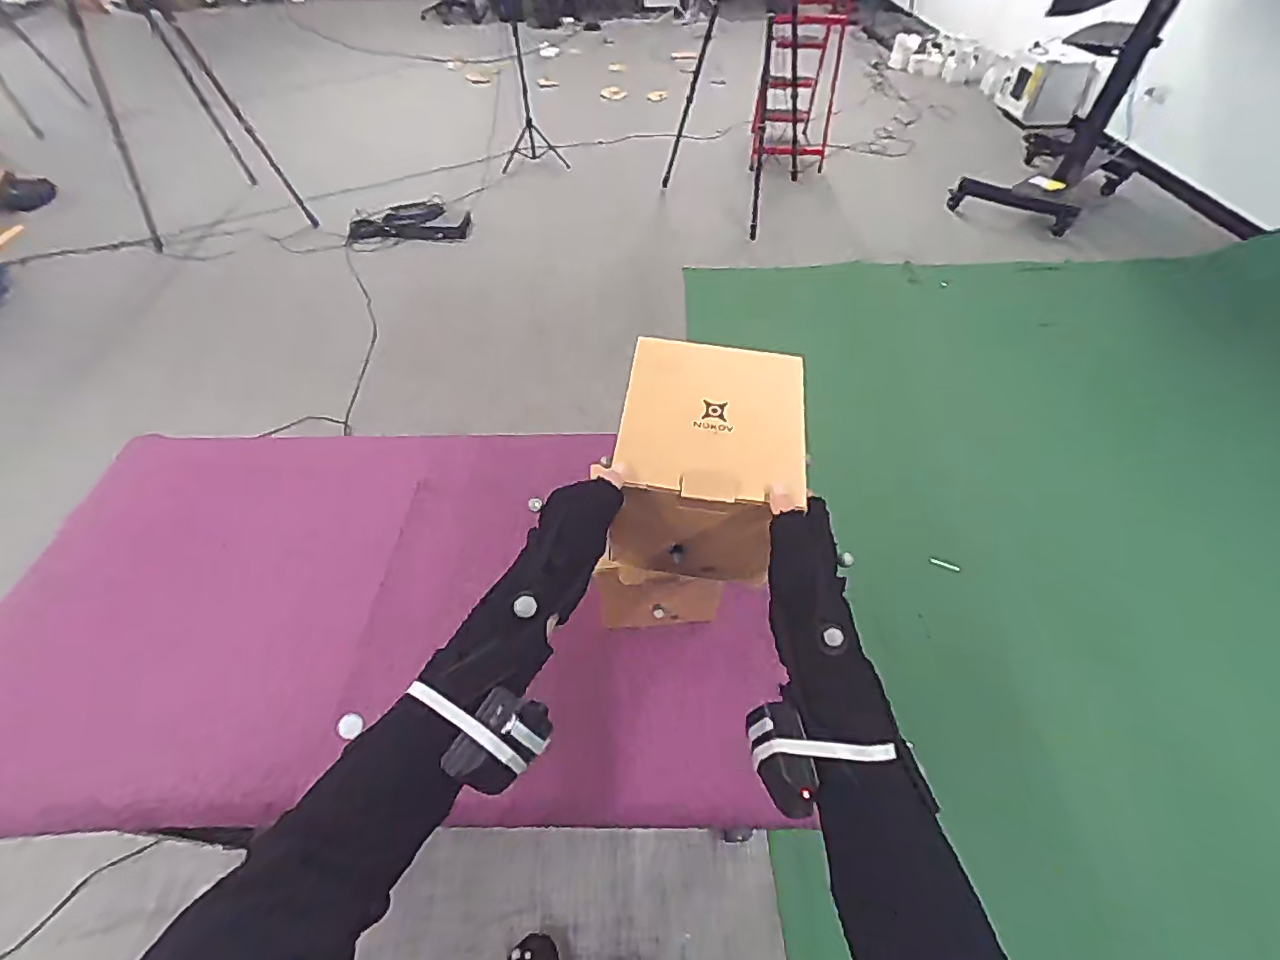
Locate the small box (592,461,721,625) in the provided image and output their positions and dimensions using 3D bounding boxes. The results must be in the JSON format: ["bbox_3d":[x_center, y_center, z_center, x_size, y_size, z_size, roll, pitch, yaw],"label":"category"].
[{"bbox_3d":[0.018,0.089,0.775,0.168,0.176,0.179,-4,51,-2],"label":"small box"}]

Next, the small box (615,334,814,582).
[{"bbox_3d":[0.068,-0.016,0.550,0.168,0.176,0.179,9,60,2],"label":"small box"}]
